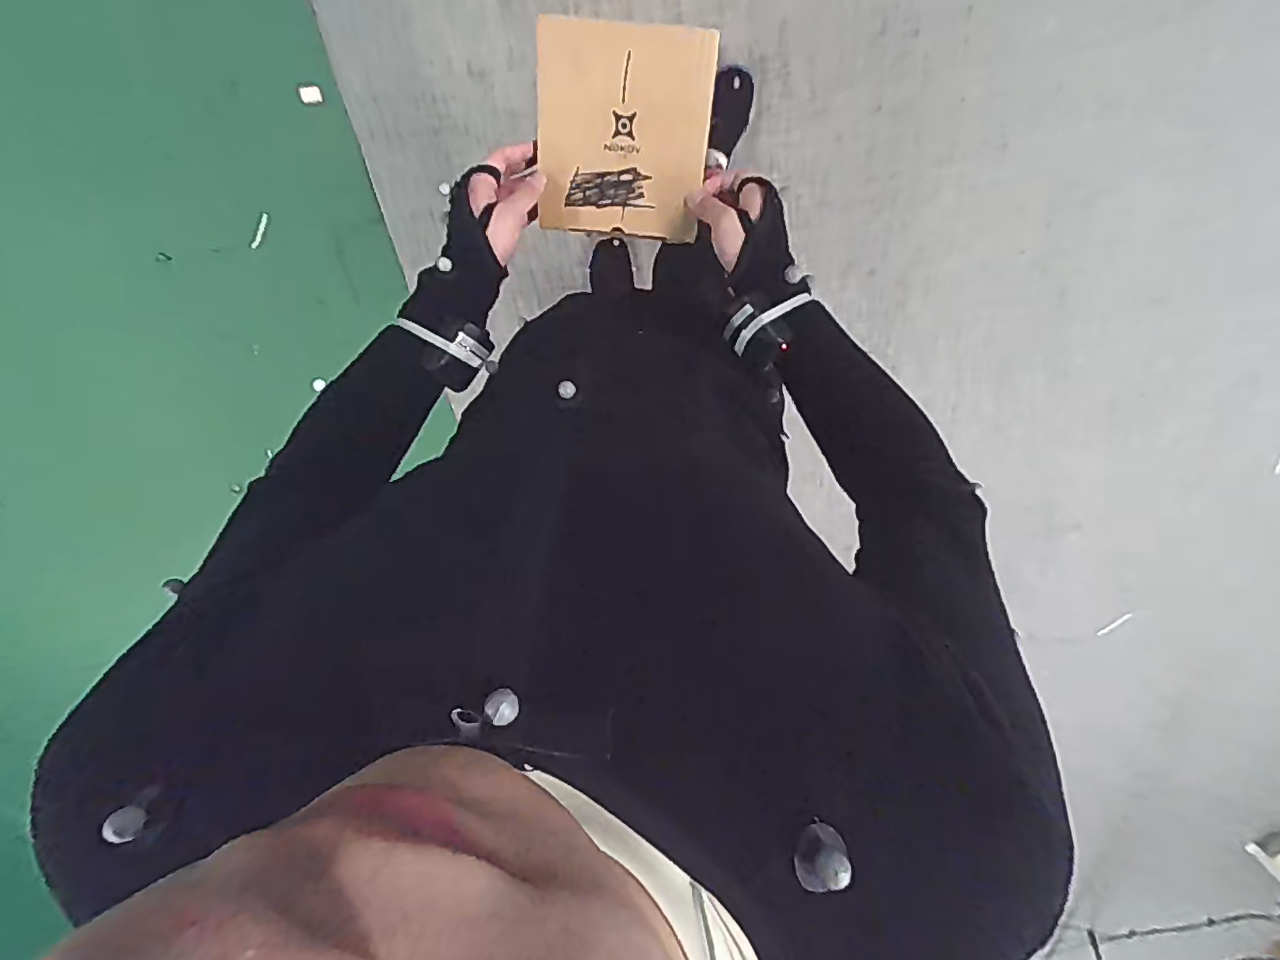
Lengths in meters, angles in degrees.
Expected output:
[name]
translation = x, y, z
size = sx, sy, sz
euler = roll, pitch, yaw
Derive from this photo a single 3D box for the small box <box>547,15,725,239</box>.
[small box]
translation = -0.005, -0.378, 0.604
size = 0.168, 0.176, 0.179
euler = 6, 117, 0
